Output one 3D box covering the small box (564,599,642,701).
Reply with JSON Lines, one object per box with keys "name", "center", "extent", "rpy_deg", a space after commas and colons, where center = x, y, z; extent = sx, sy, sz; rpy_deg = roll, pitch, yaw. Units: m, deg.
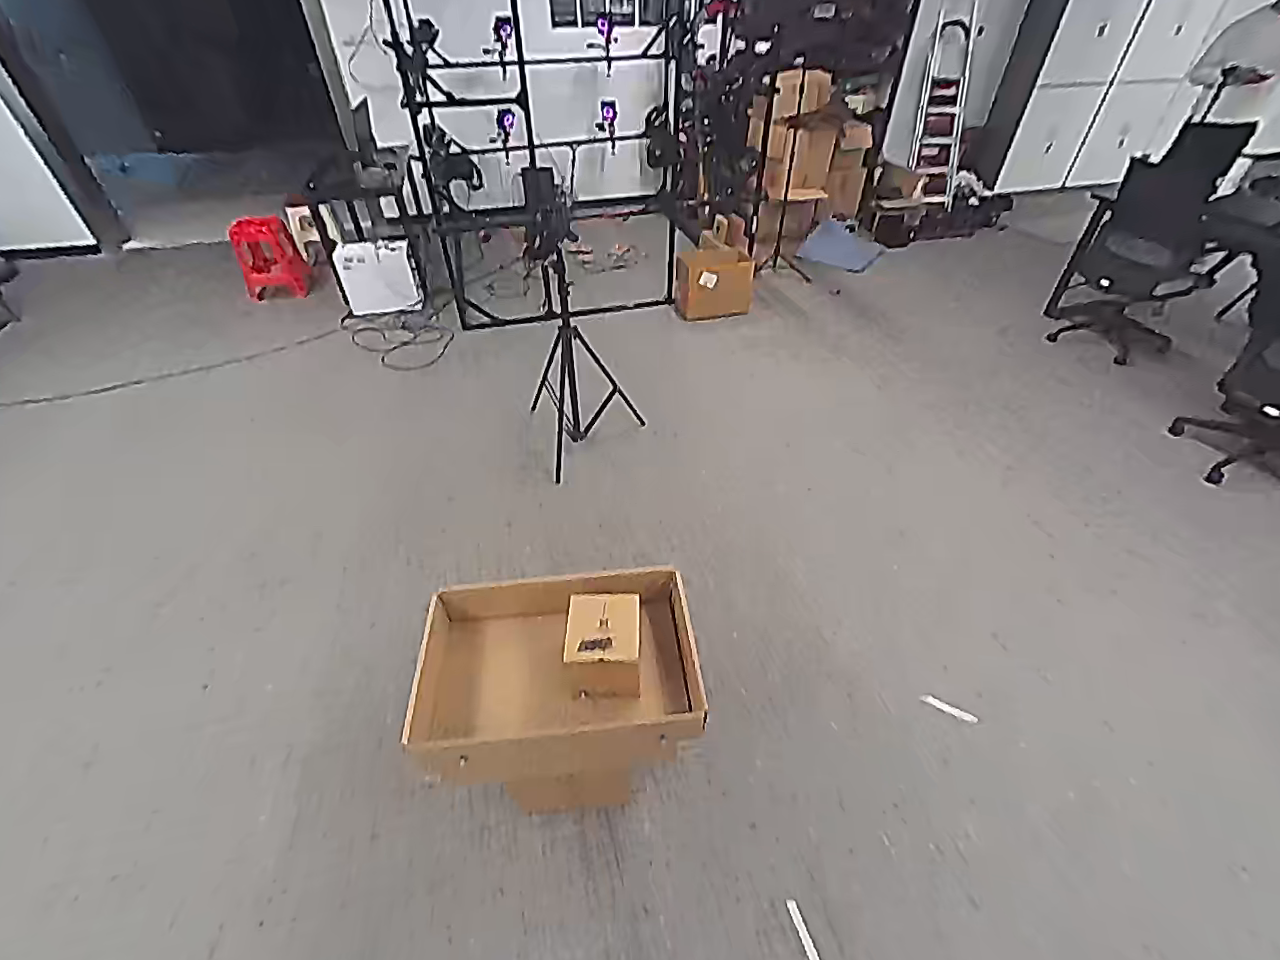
{"name": "small box", "center": [-0.079, 0.402, 1.270], "extent": [0.168, 0.176, 0.179], "rpy_deg": [-1, 41, 1]}
